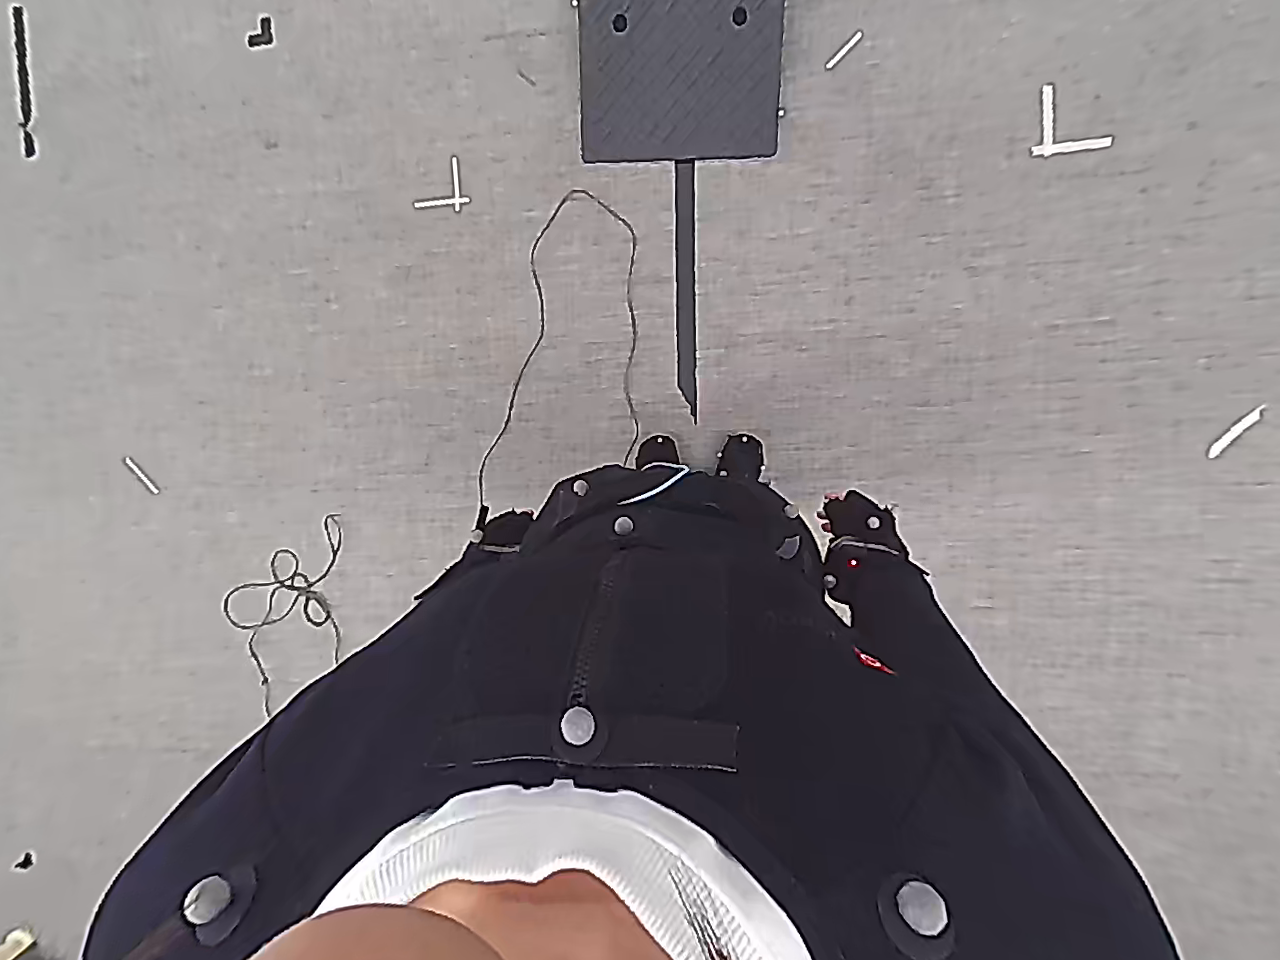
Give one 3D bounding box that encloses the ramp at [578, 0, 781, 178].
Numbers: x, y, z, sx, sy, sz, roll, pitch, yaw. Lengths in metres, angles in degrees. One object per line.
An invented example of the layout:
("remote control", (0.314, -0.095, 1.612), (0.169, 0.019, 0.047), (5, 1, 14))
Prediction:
("ramp", (0.090, -1.279, 1.275), (0.509, 0.206, 0.991), (-2, 94, 5))
